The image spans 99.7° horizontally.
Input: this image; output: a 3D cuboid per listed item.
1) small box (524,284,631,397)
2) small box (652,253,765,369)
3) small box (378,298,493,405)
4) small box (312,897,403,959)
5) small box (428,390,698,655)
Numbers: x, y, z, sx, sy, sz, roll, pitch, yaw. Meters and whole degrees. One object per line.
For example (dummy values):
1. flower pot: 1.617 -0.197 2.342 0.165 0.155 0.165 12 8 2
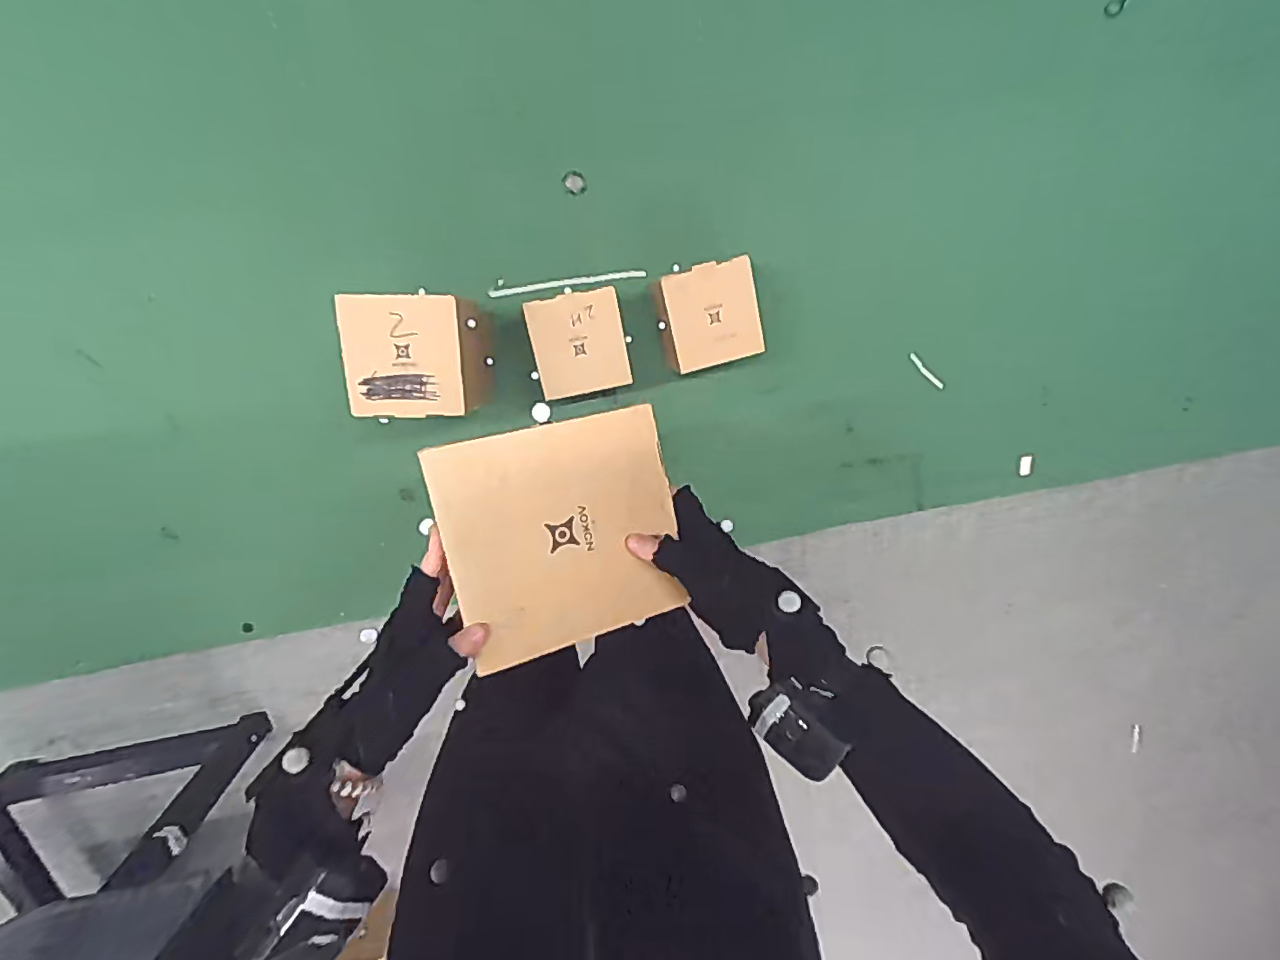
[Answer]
1. small box: -0.116 -0.269 1.035 0.168 0.176 0.179 -12 107 -4
2. small box: 0.126 -0.323 1.050 0.168 0.176 0.179 -14 108 -2
3. small box: -0.371 -0.242 1.011 0.168 0.176 0.179 1 108 -7
4. small box: -0.731 1.228 1.402 0.179 0.176 0.168 -6 107 -6
5. small box: -0.076 0.025 0.473 0.179 0.176 0.168 -14 97 -21
